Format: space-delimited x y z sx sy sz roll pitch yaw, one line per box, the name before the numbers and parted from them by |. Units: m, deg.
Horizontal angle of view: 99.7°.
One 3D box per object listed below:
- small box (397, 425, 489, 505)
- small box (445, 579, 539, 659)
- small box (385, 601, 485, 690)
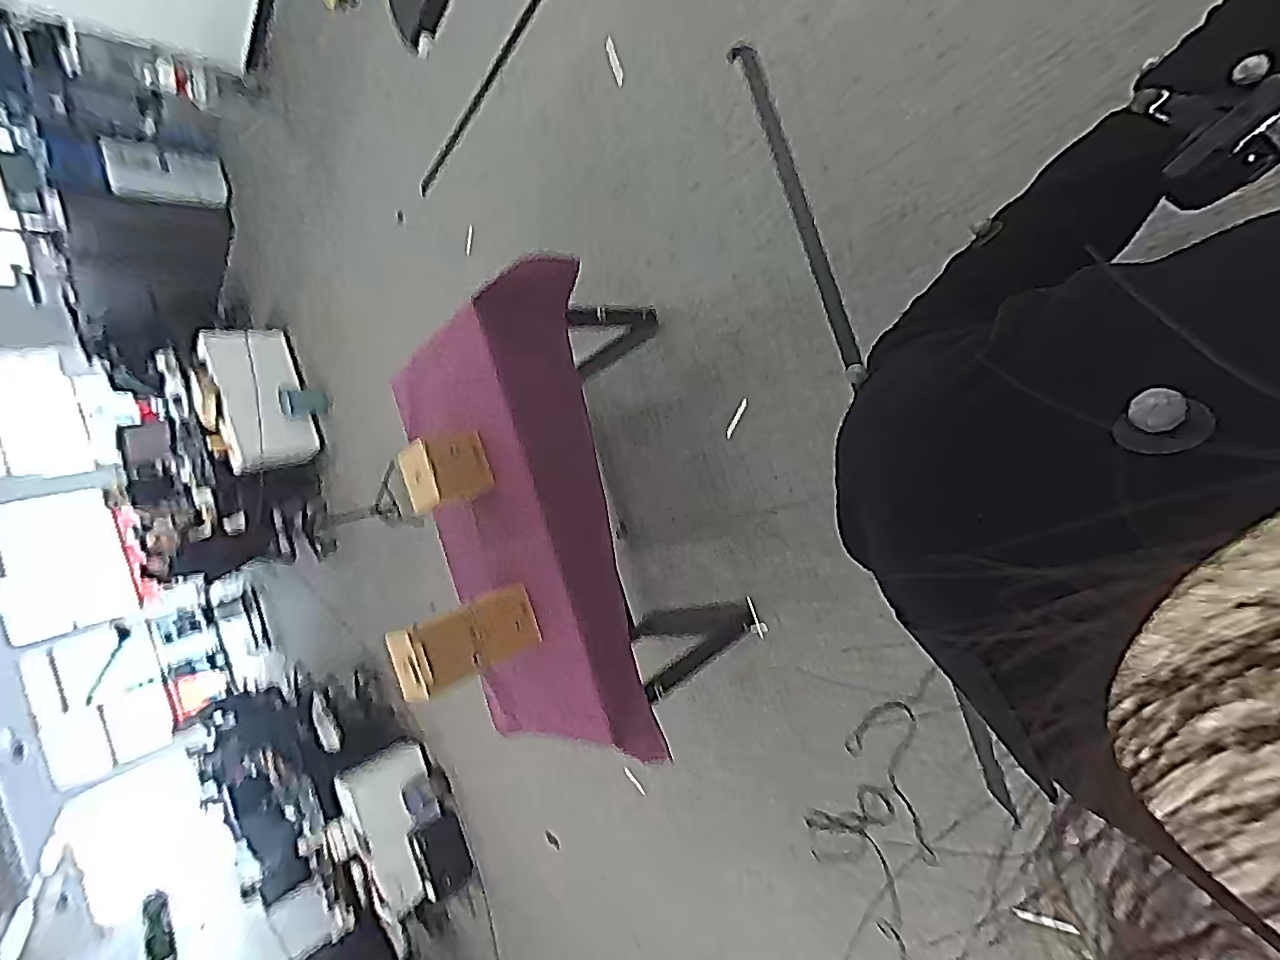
small box | -0.538 -0.044 1.497 0.179 0.176 0.168 -19 89 45
small box | -0.411 0.387 1.510 0.179 0.176 0.168 -21 88 44
small box | -0.521 0.423 1.394 0.179 0.176 0.168 -22 86 45
